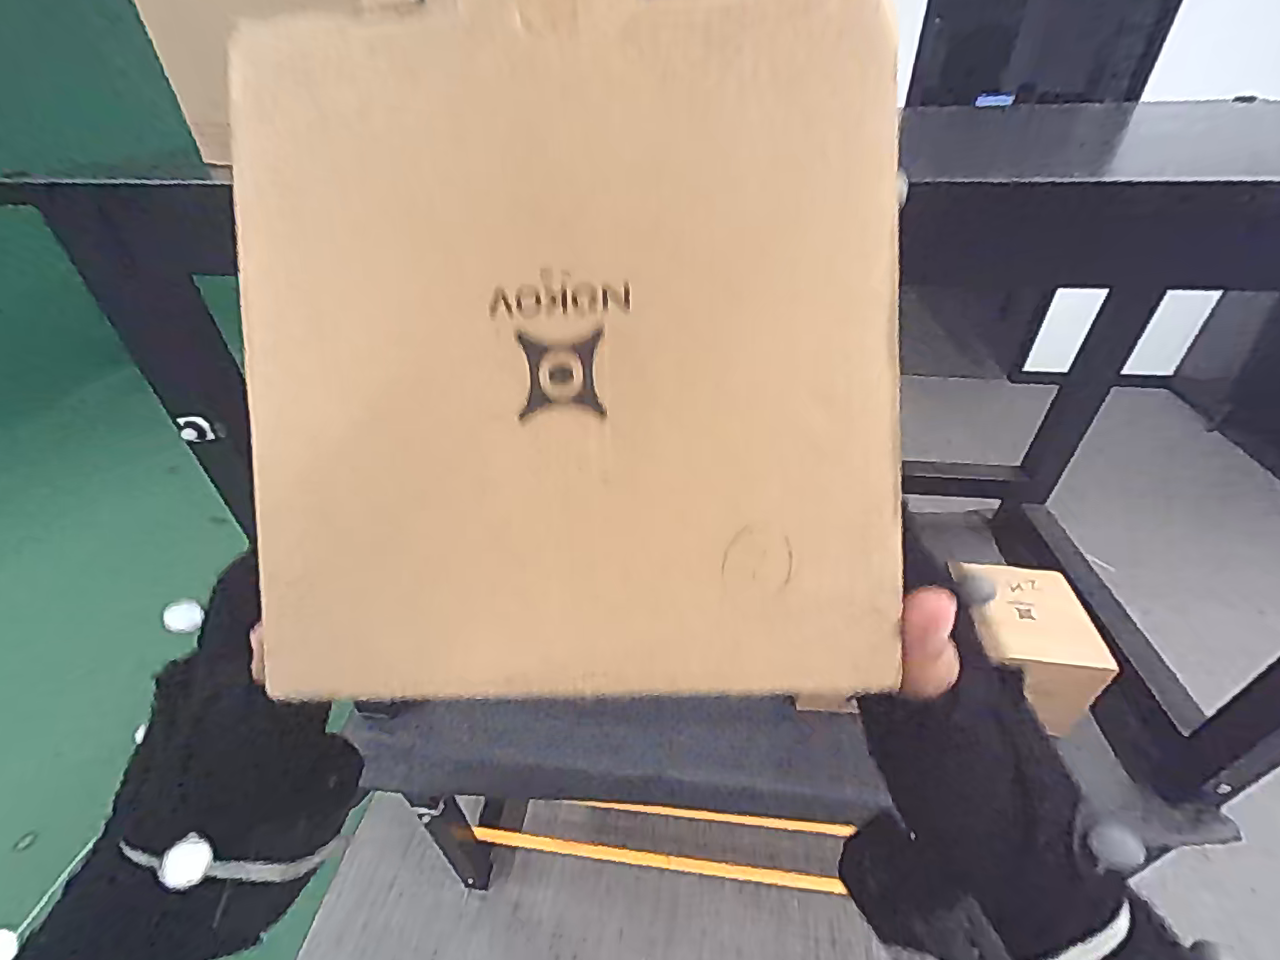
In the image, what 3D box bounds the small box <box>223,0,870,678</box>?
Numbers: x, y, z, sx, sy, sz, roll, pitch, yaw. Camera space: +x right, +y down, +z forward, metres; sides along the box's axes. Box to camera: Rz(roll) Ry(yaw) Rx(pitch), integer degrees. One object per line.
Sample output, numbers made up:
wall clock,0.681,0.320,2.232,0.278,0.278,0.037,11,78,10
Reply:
small box,-0.019,-0.039,0.220,0.168,0.179,0.176,-2,2,3
